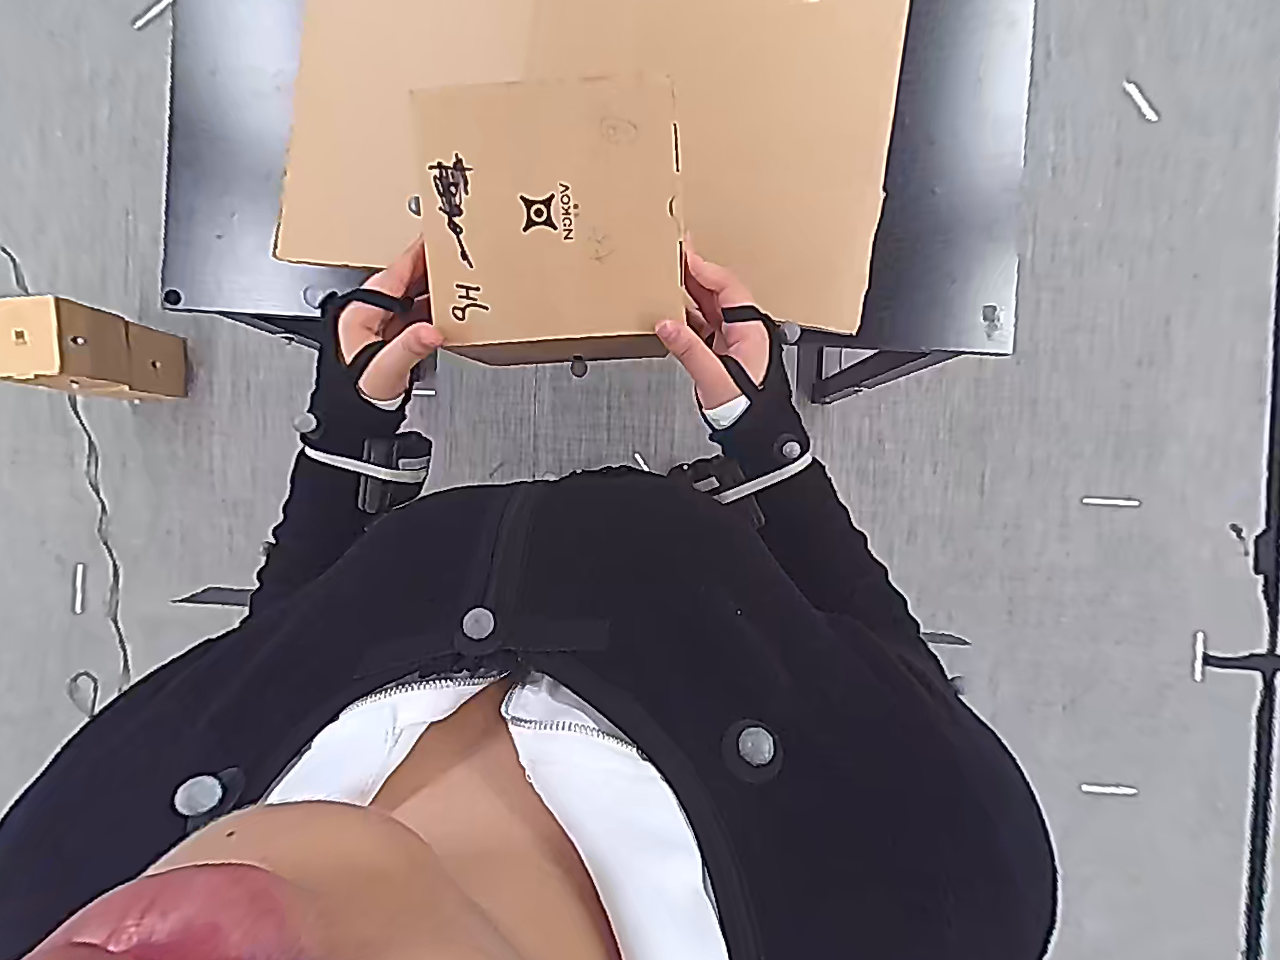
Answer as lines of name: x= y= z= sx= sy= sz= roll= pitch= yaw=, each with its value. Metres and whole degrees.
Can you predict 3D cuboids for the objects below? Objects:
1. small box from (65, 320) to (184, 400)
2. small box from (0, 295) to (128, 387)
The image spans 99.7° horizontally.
small box: x=-1.345 y=-0.310 z=1.419 sx=0.168 sy=0.176 sz=0.179 roll=-1 pitch=91 yaw=0
small box: x=-1.346 y=-0.314 z=1.256 sx=0.168 sy=0.176 sz=0.179 roll=-3 pitch=90 yaw=0
